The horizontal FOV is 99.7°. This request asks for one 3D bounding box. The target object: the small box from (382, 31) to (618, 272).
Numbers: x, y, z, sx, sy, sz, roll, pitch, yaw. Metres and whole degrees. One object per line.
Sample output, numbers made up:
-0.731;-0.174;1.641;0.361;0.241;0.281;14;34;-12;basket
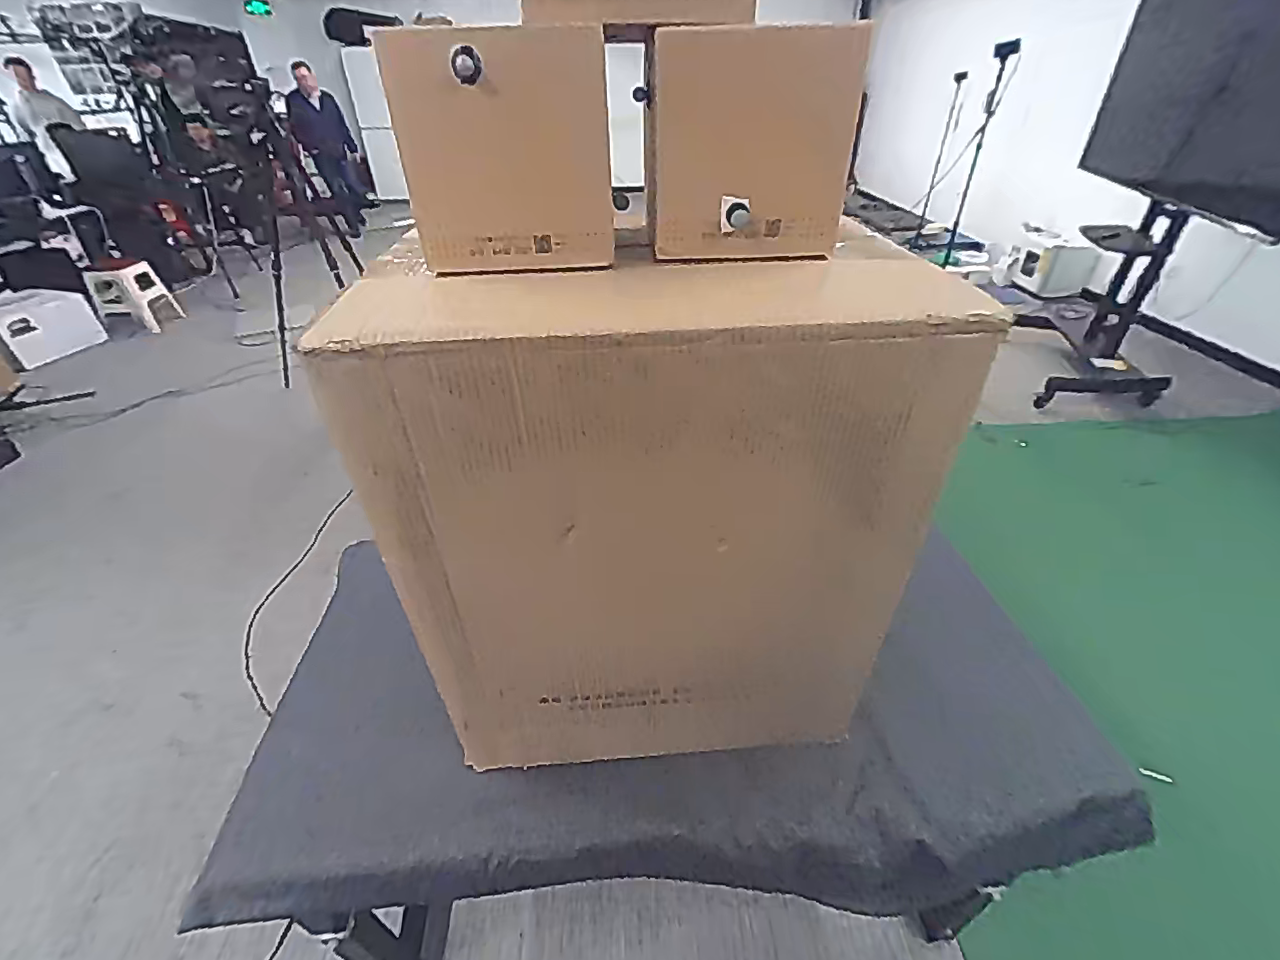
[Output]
-0.109;-0.300;0.506;0.168;0.176;0.179;-4;35;-1;small box
